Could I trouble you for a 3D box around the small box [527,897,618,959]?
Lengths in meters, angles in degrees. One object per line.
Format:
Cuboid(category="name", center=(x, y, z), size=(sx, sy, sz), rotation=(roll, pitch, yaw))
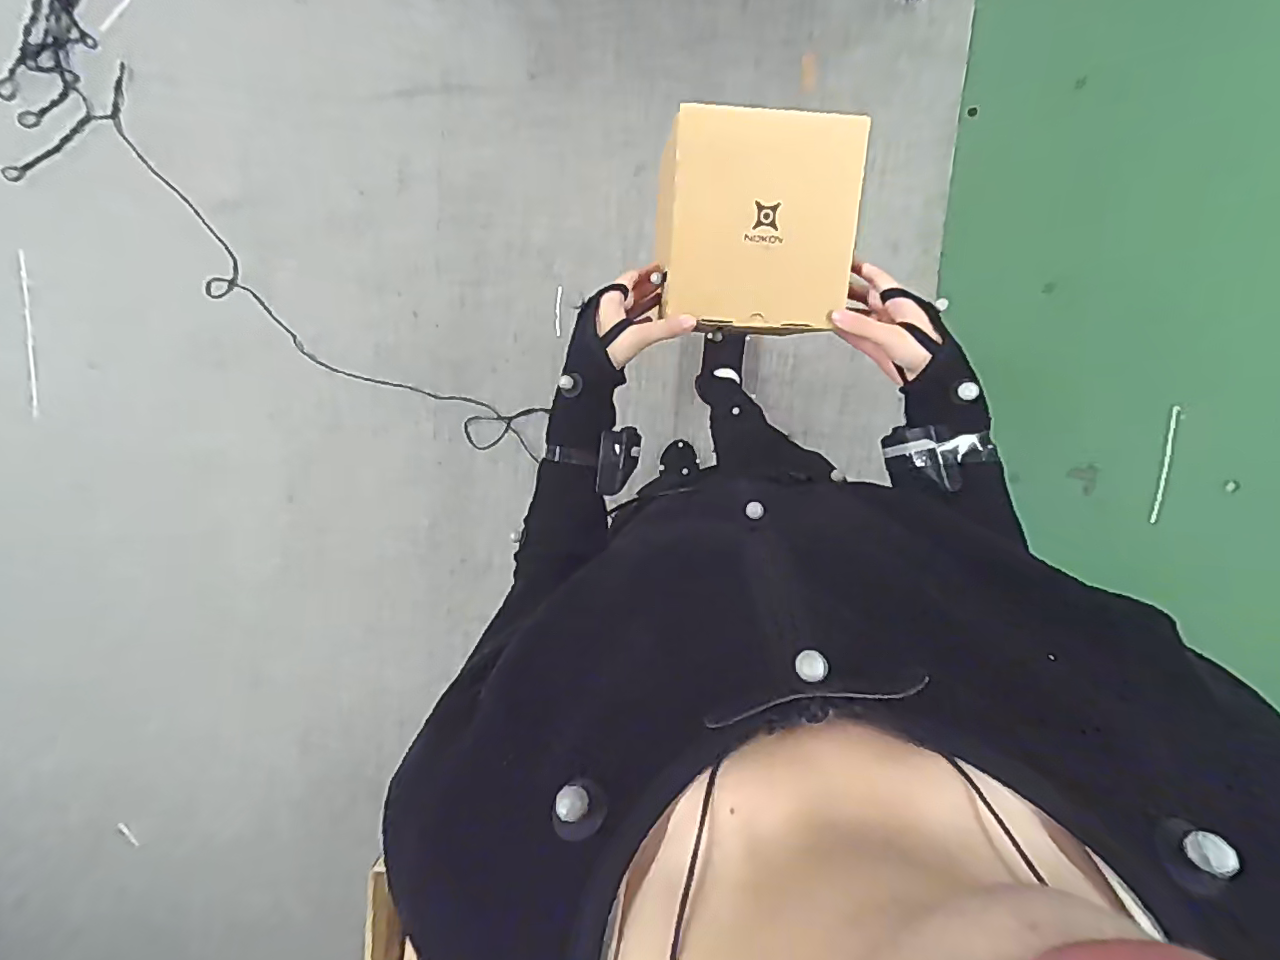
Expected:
Cuboid(category="small box", center=(-0.135, 1.005, 1.101), size=(0.168, 0.176, 0.179), rotation=(2, 95, 3))
